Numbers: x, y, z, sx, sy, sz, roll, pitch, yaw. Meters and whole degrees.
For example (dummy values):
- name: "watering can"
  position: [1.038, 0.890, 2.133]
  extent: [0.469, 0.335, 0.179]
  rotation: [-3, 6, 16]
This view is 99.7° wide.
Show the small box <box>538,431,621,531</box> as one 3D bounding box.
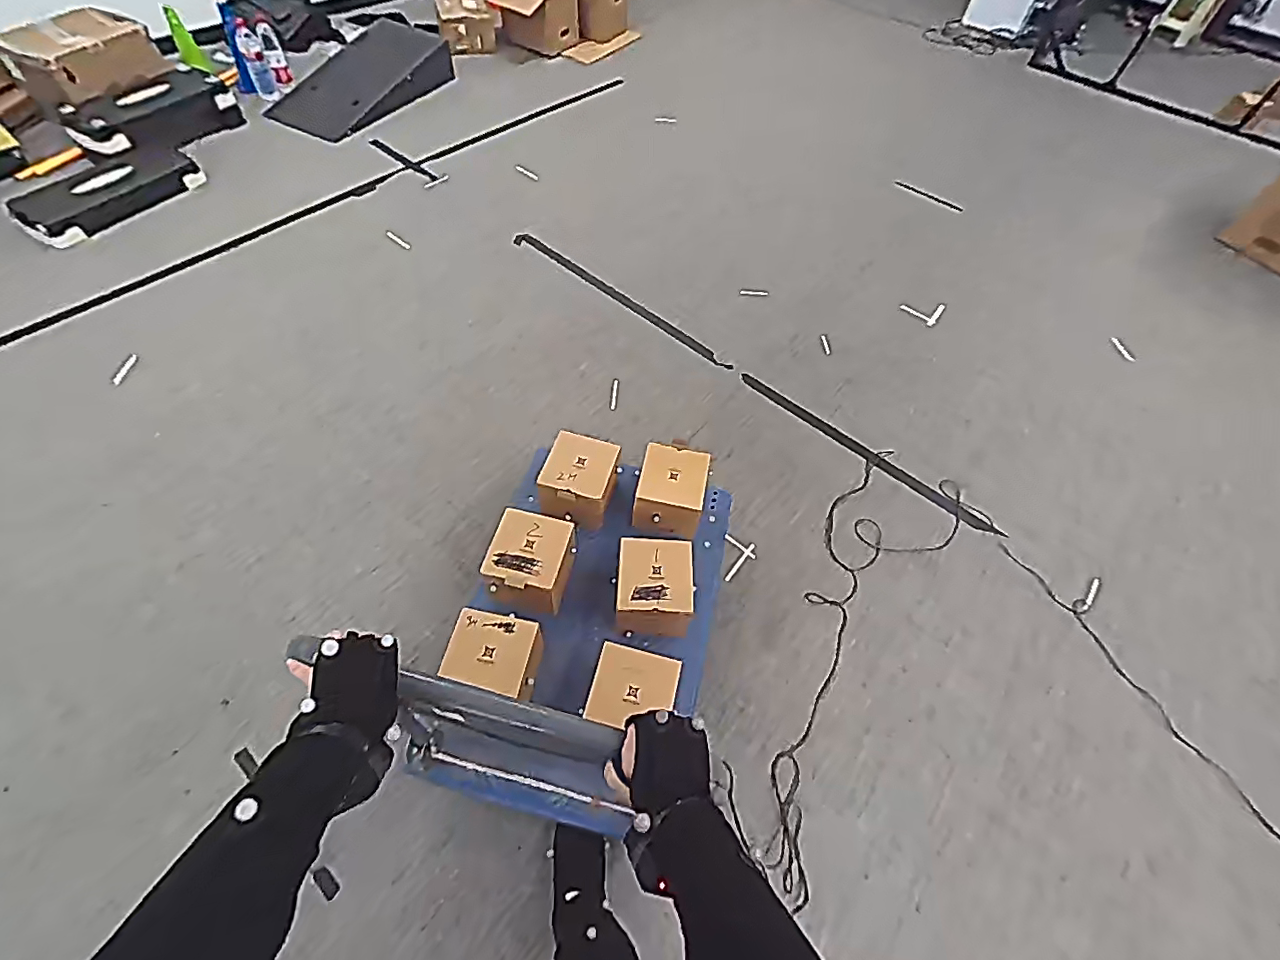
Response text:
- name: "small box"
  position: [-0.156, 0.006, 1.418]
  extent: [0.168, 0.176, 0.179]
  rotation: [16, 57, 5]

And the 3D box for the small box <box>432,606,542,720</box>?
- name: "small box"
  position: [-0.311, 0.393, 1.144]
  extent: [0.168, 0.176, 0.179]
  rotation: [12, 56, 1]

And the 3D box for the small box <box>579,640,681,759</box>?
- name: "small box"
  position: [-0.021, 0.463, 1.127]
  extent: [0.168, 0.176, 0.179]
  rotation: [15, 55, 4]

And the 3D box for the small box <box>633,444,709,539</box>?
- name: "small box"
  position: [0.078, 0.035, 1.424]
  extent: [0.168, 0.176, 0.179]
  rotation: [12, 56, 3]

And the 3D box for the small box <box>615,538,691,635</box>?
- name: "small box"
  position: [0.029, 0.255, 1.271]
  extent: [0.168, 0.176, 0.179]
  rotation: [4, 55, -3]
